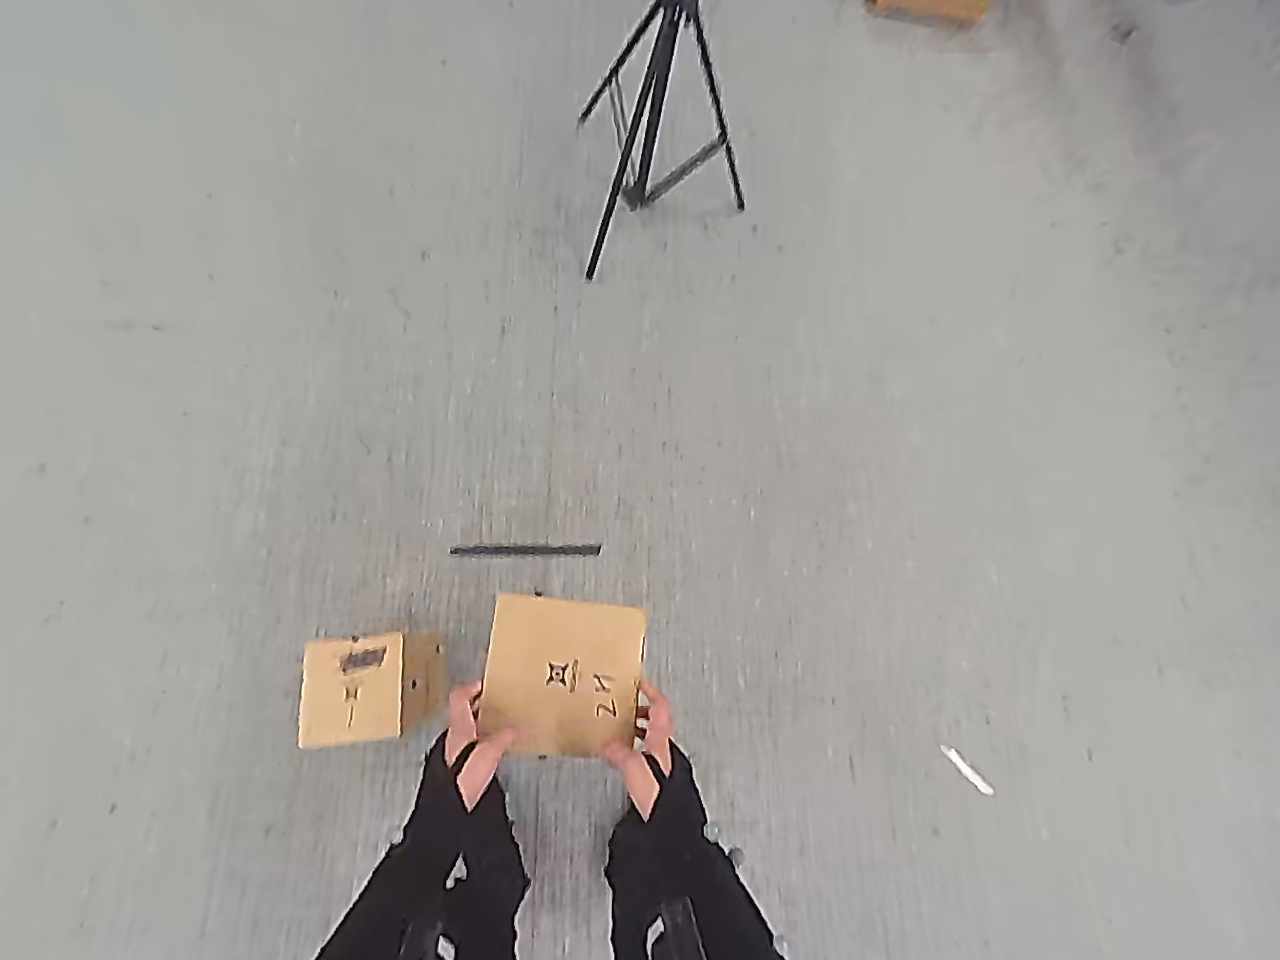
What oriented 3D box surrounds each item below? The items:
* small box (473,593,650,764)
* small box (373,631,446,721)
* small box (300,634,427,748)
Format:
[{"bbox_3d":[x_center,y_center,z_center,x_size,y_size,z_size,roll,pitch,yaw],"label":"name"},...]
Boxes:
[{"bbox_3d":[-0.096,0.237,0.677,0.179,0.176,0.168,9,77,-8],"label":"small box"},{"bbox_3d":[-0.523,0.428,1.173,0.168,0.176,0.179,-4,75,-10],"label":"small box"},{"bbox_3d":[-0.506,0.387,1.015,0.168,0.176,0.179,-2,75,-9],"label":"small box"}]
